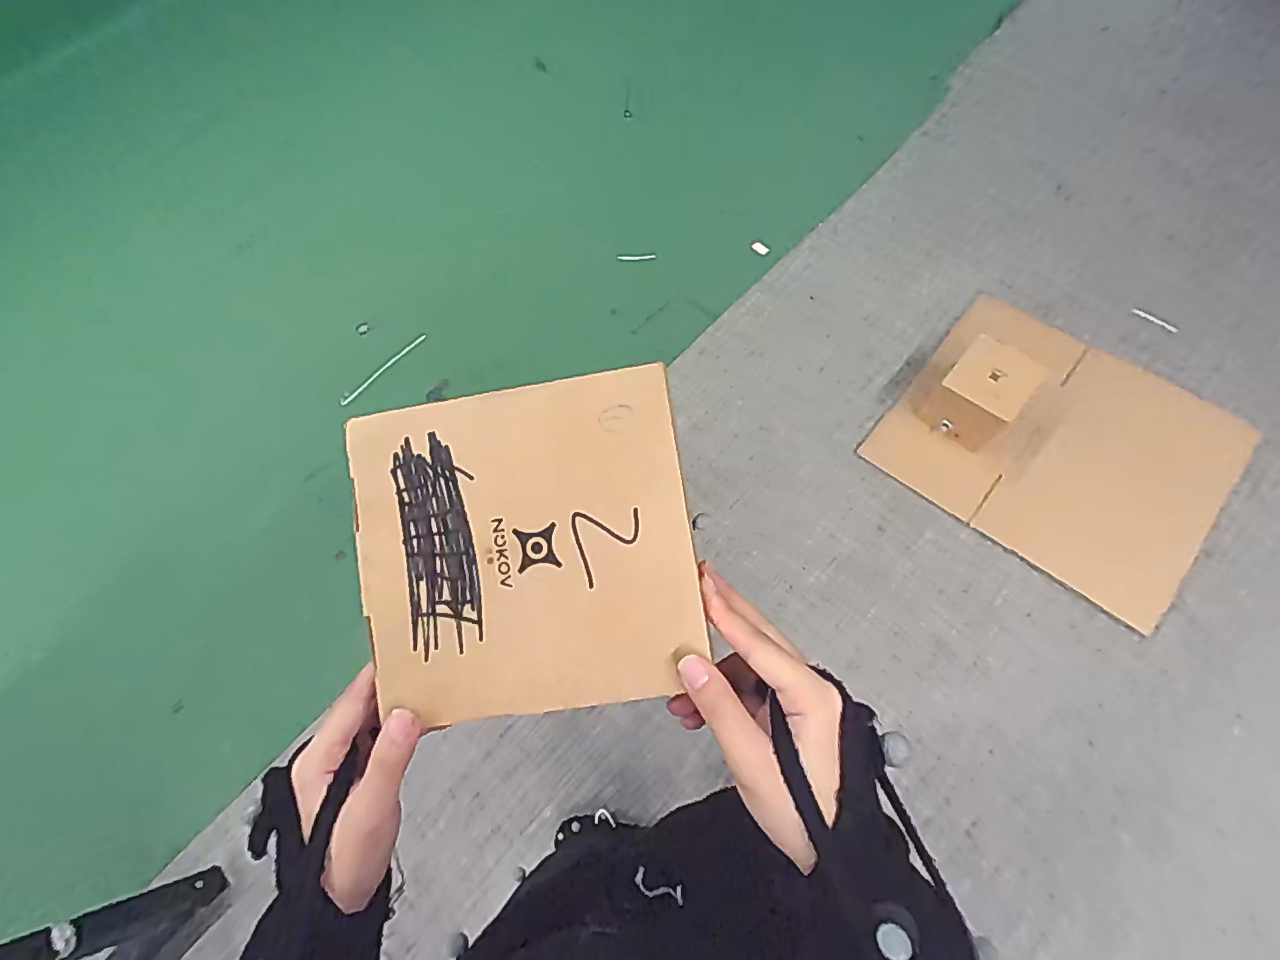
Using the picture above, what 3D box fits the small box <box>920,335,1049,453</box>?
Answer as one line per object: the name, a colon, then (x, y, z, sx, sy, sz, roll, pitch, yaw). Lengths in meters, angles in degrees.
small box: (0.799, -0.198, 1.274, 0.168, 0.176, 0.179, 38, 78, 20)
